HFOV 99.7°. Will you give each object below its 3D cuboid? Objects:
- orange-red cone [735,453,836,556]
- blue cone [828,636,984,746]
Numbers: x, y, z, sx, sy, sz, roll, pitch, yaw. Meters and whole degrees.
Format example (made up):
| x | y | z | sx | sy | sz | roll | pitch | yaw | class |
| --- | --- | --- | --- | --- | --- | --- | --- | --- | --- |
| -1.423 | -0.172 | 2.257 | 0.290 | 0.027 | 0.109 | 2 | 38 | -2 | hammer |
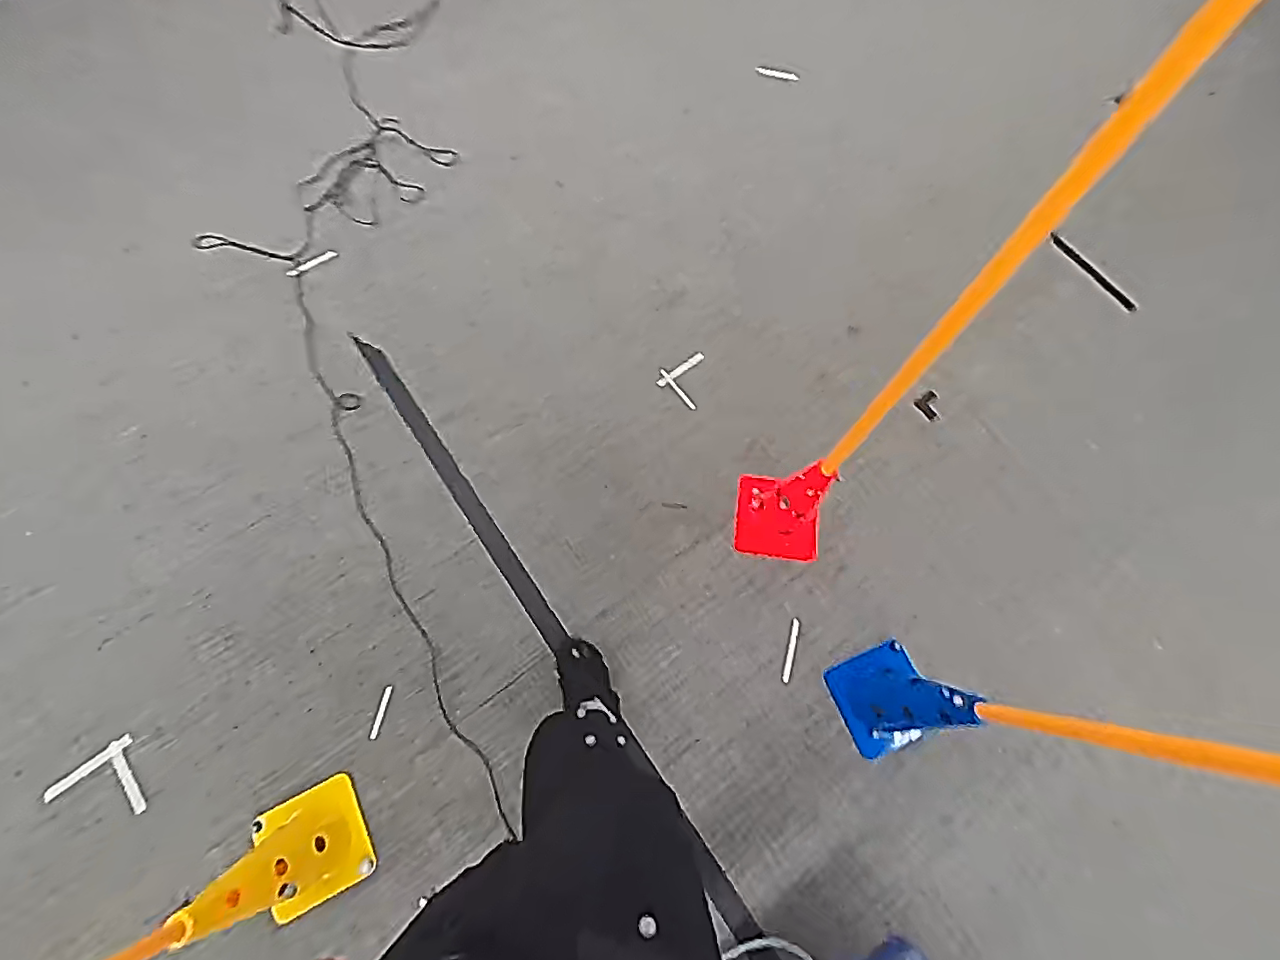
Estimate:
| x | y | z | sx | sy | sz | roll | pitch | yaw | class |
| --- | --- | --- | --- | --- | --- | --- | --- | --- | --- |
| 0.335 | 0.024 | 1.140 | 0.198 | 0.360 | 0.199 | 9 | 72 | 2 | orange-red cone |
| 0.530 | 0.407 | 1.029 | 0.193 | 0.380 | 0.192 | -20 | 72 | -8 | blue cone |
